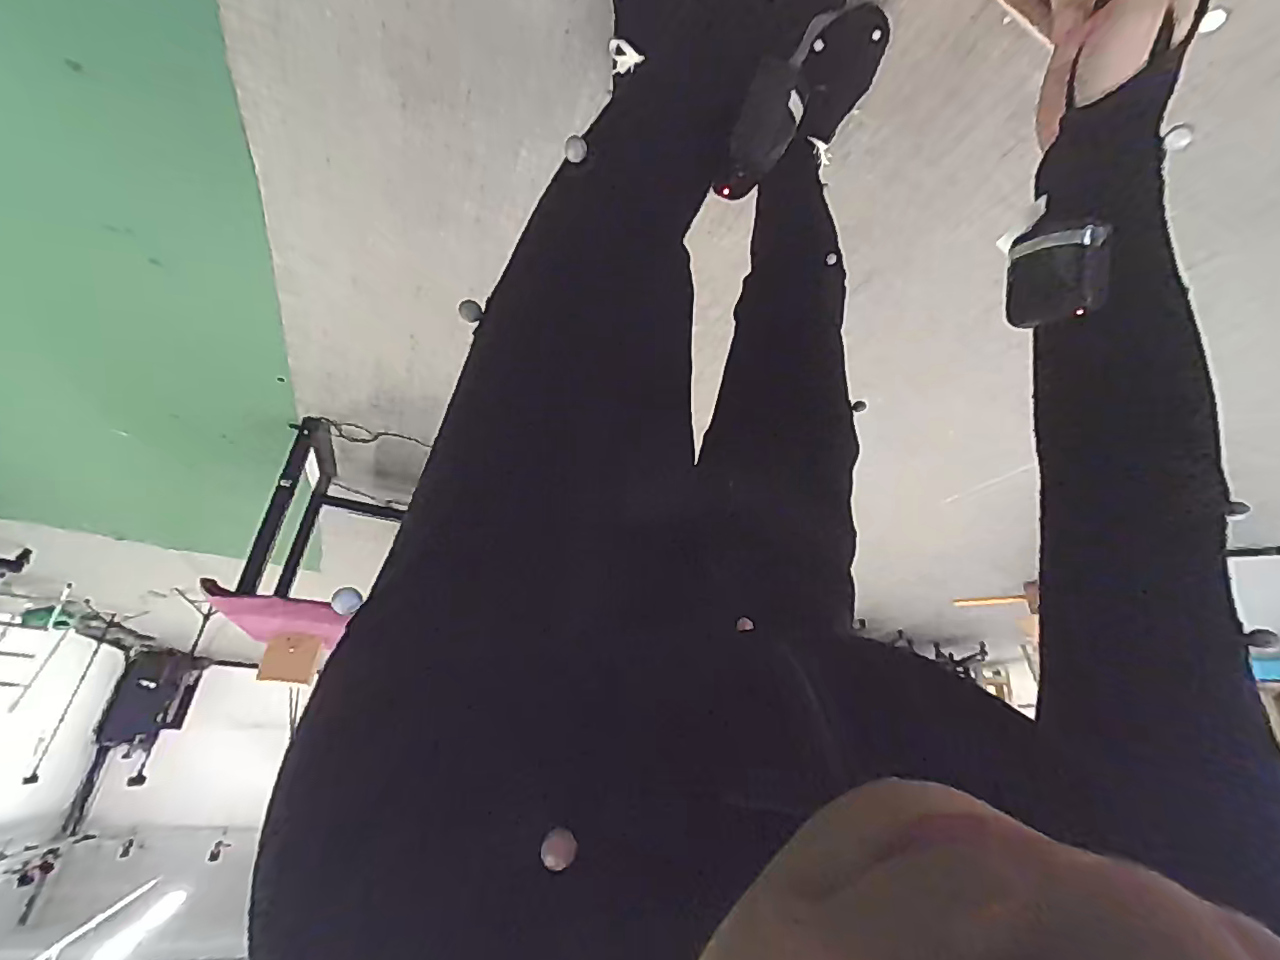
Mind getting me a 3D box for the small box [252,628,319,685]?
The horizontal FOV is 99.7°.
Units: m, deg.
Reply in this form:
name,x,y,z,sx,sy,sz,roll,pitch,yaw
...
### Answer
name,x,y,z,sx,sy,sz,roll,pitch,yaw
small box,-1.304,0.657,2.001,0.168,0.176,0.179,14,151,-22
